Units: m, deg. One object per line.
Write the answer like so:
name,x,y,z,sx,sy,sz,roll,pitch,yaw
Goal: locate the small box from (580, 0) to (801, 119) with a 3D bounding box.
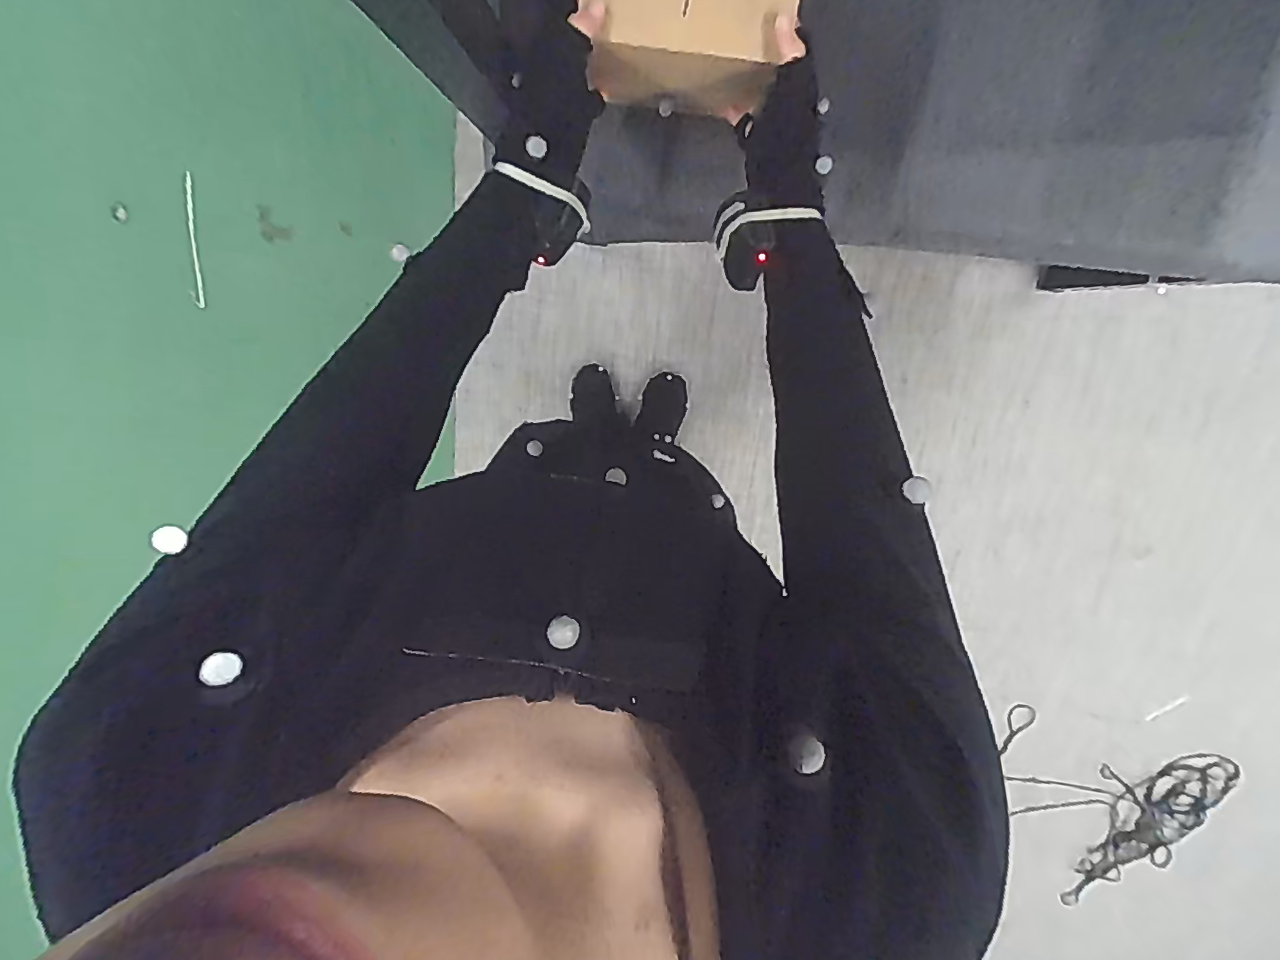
small box,0.042,-0.435,0.455,0.168,0.176,0.179,5,111,-3
